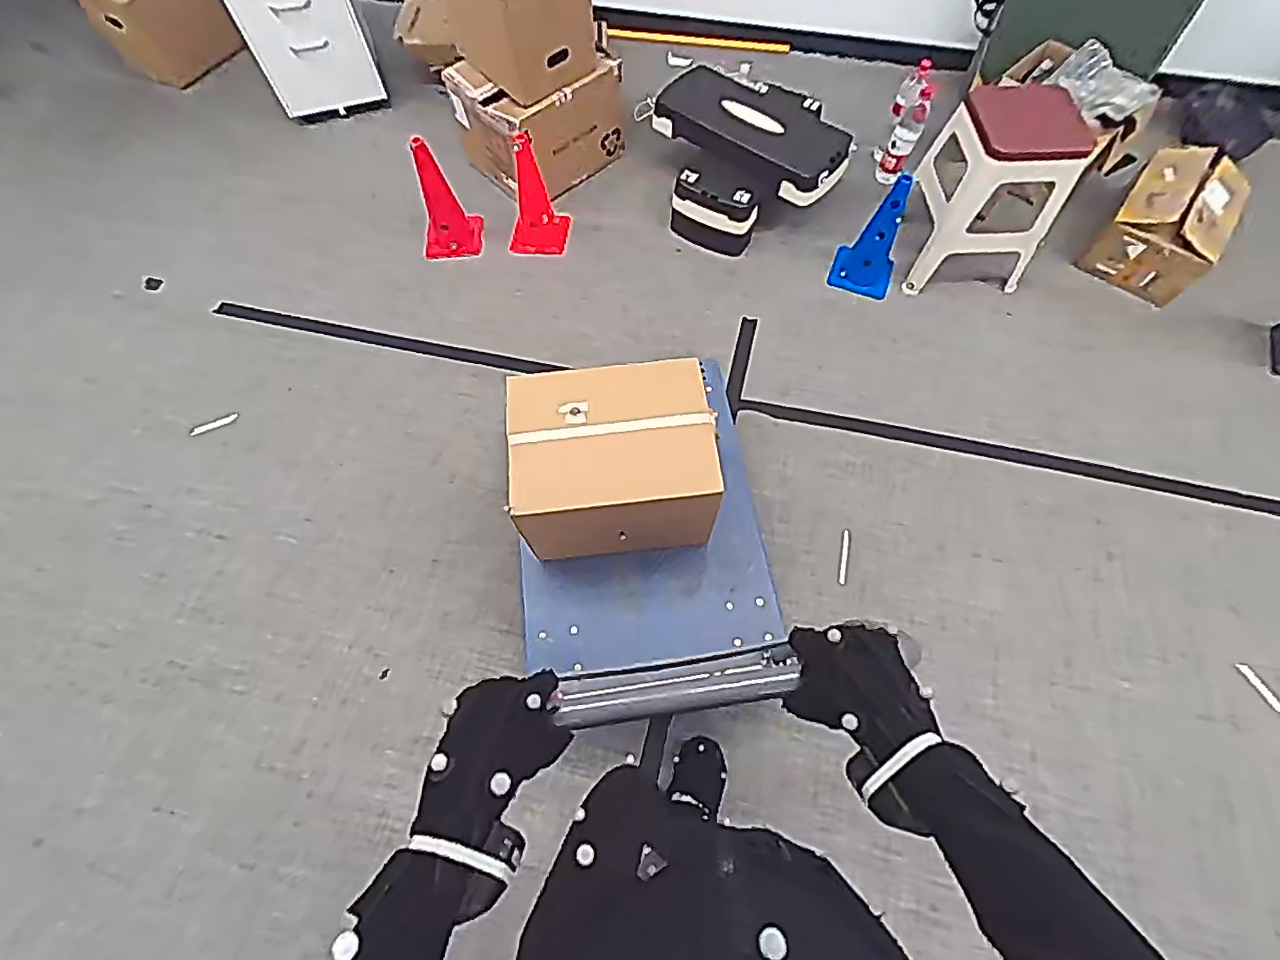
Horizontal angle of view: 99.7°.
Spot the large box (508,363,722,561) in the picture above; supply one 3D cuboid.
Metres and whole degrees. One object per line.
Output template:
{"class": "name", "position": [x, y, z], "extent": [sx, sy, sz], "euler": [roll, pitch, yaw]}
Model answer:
{"class": "large box", "position": [-0.054, -0.024, 1.208], "extent": [0.408, 0.320, 0.320], "euler": [-7, 66, -1]}
